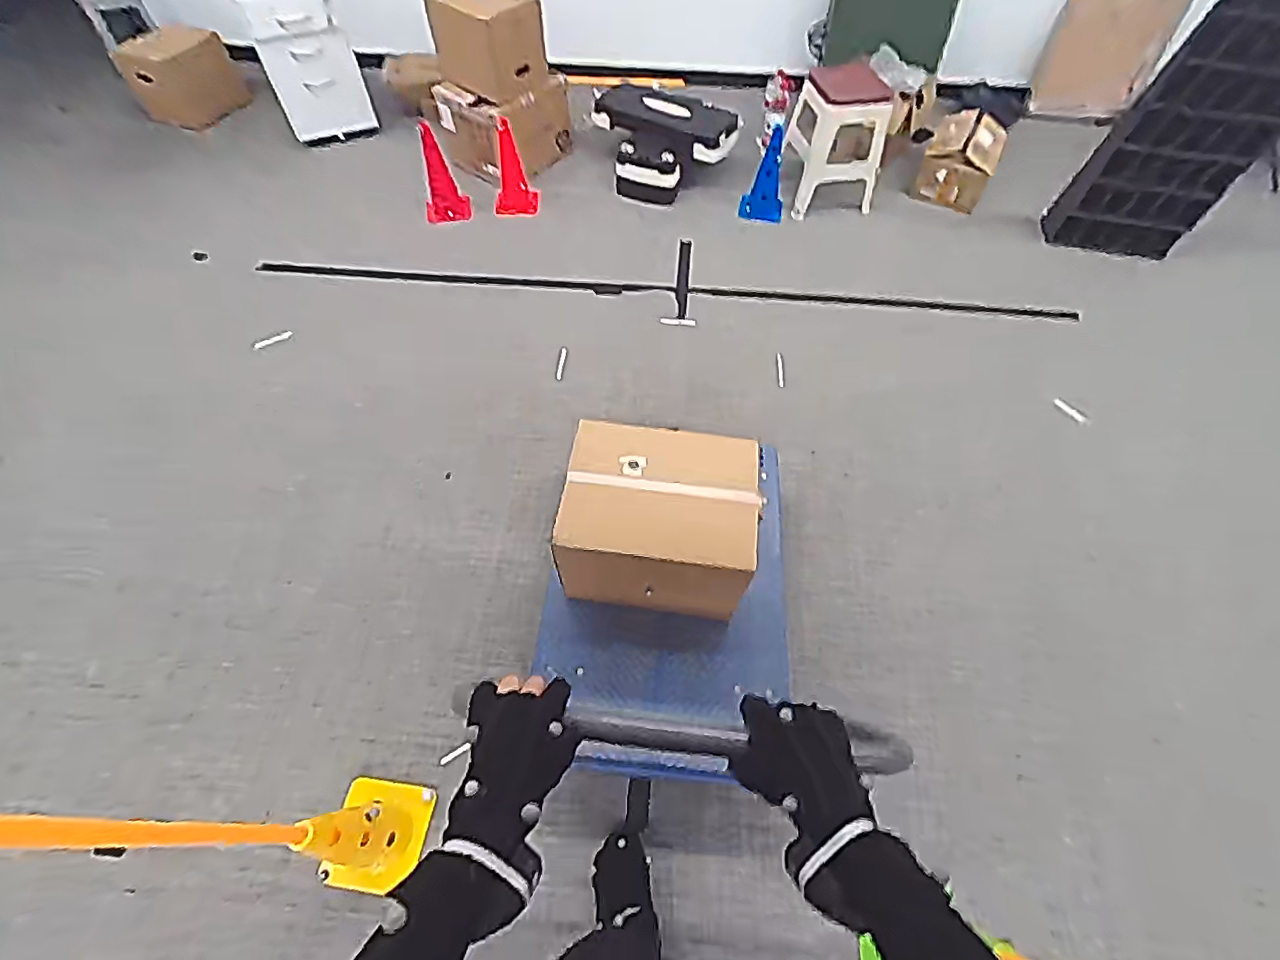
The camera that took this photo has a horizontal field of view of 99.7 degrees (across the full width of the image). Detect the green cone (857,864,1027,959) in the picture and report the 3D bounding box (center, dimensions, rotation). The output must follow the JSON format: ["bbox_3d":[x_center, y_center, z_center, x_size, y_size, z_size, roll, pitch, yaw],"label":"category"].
[{"bbox_3d":[0.557,0.829,0.966,0.202,0.368,0.200,9,57,3],"label":"green cone"}]

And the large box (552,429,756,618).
[{"bbox_3d":[0.043,0.110,1.256,0.408,0.320,0.320,7,58,4],"label":"large box"}]
